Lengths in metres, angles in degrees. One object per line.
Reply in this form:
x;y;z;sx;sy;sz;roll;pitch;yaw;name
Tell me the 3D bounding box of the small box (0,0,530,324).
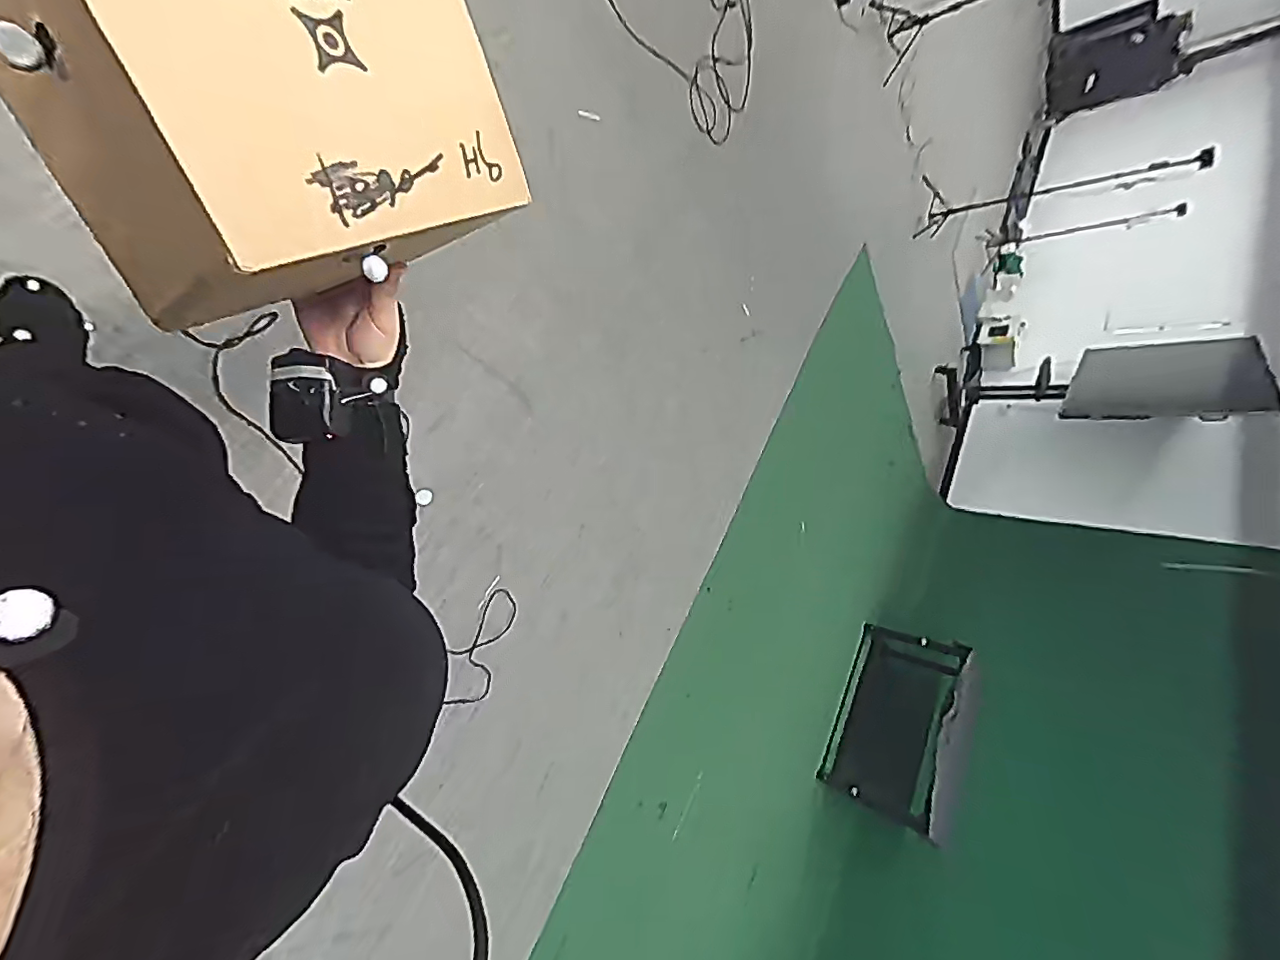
-0.199;-0.204;0.293;0.168;0.176;0.179;-42;122;-40;small box
